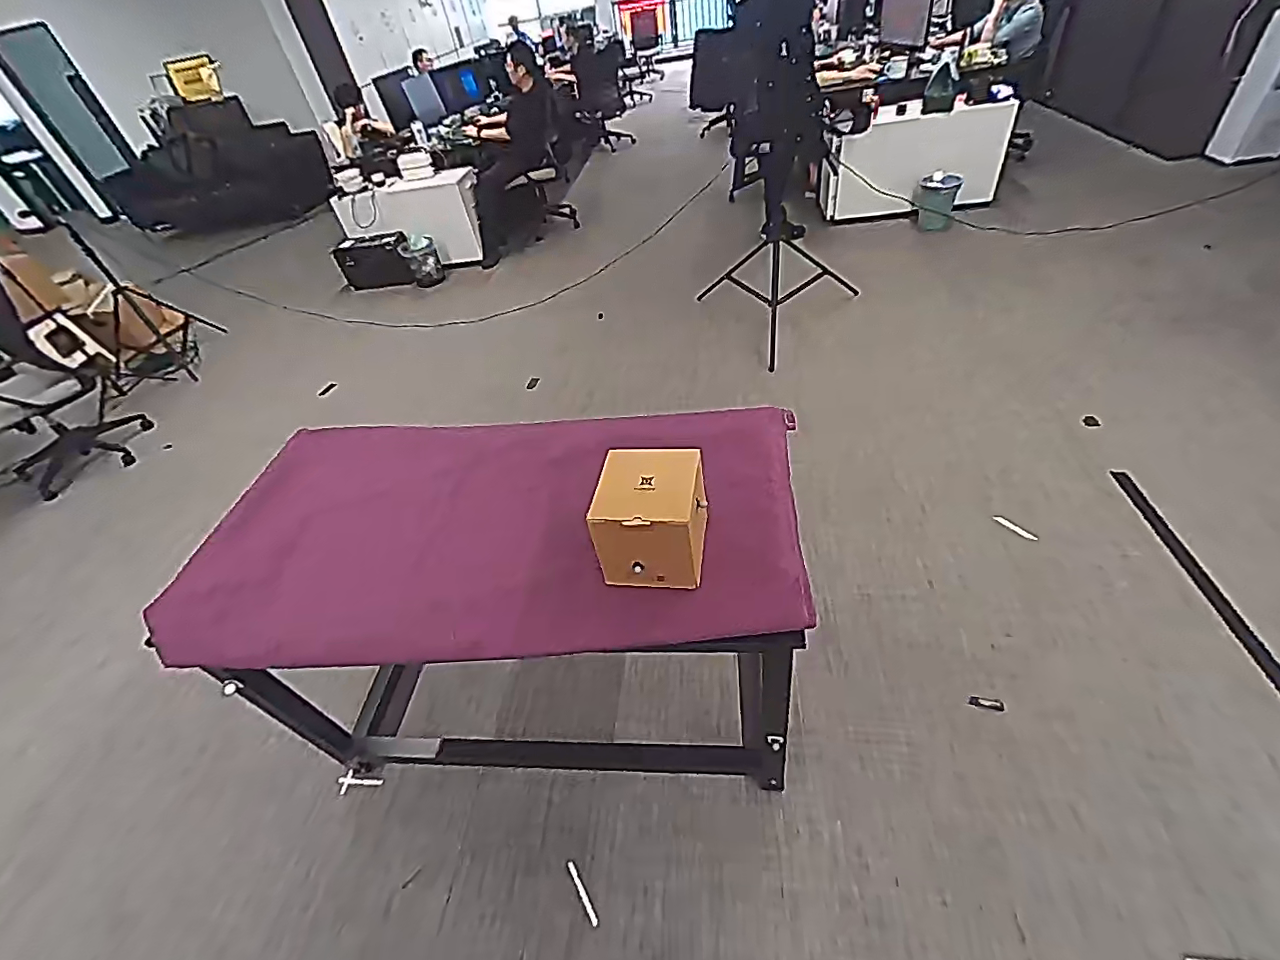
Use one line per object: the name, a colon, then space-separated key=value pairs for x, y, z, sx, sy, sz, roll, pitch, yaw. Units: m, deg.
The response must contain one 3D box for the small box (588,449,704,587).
small box: x=0.022 y=0.063 z=0.947 sx=0.168 sy=0.176 sz=0.179 roll=0 pitch=43 yaw=13
